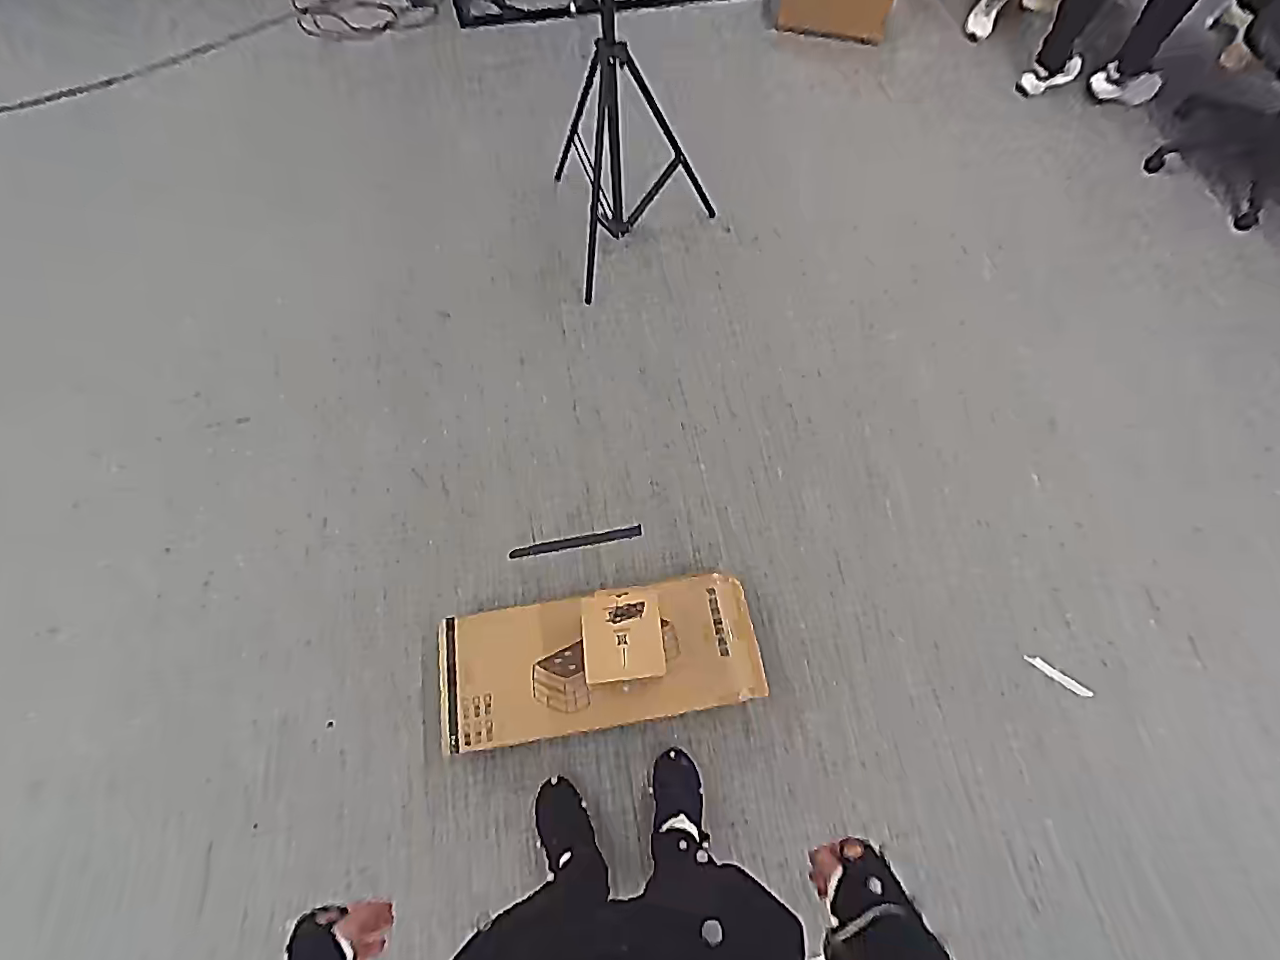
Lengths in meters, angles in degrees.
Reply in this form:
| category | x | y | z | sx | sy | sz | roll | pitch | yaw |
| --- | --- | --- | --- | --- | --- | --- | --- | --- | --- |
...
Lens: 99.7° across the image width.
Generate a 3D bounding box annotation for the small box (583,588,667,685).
| category | x | y | z | sx | sy | sz | roll | pitch | yaw |
| --- | --- | --- | --- | --- | --- | --- | --- | --- | --- |
| small box | -0.034 | 0.351 | 1.198 | 0.168 | 0.176 | 0.179 | -6 | 68 | -2 |
